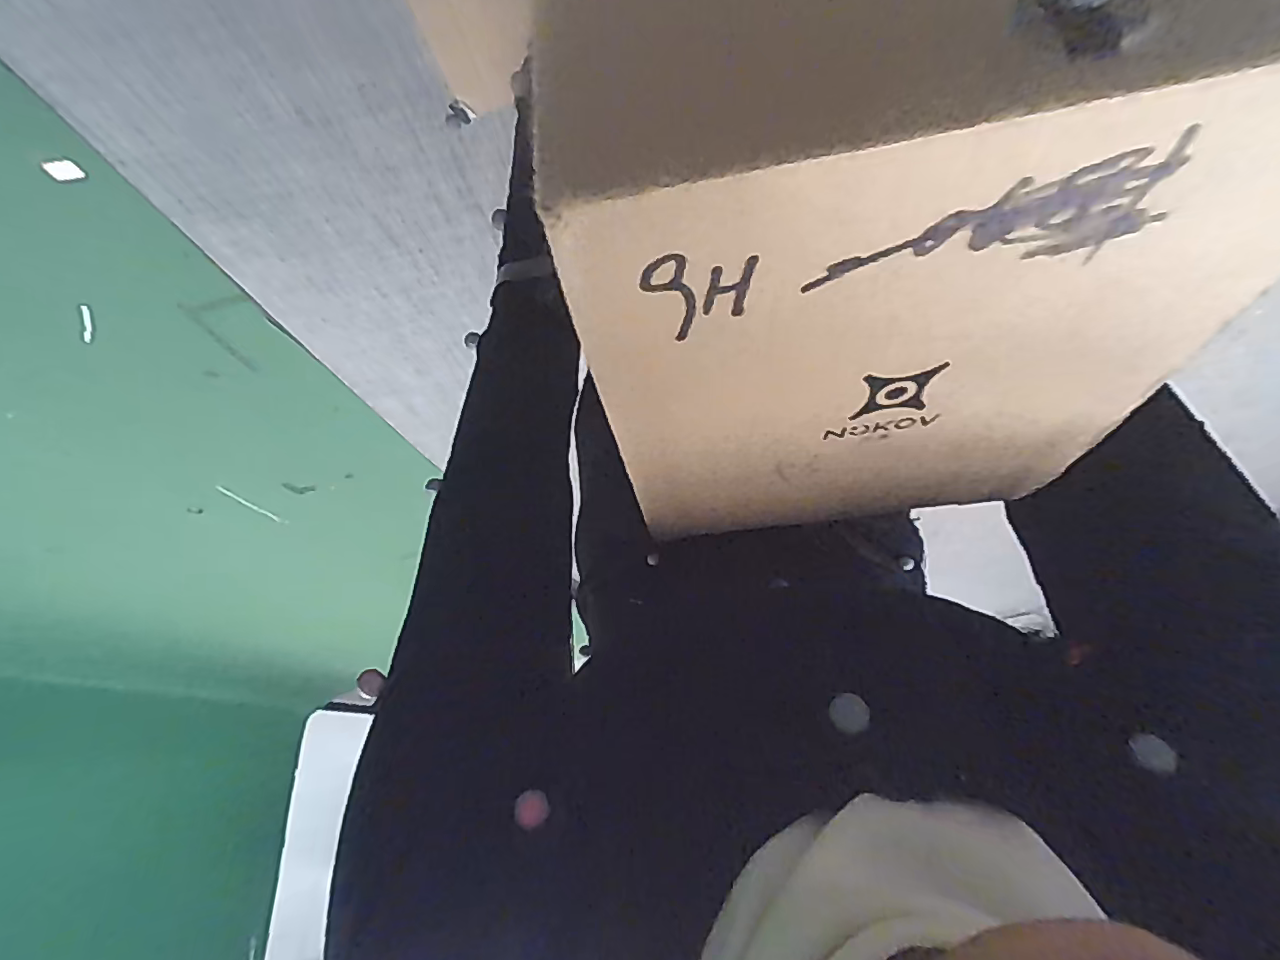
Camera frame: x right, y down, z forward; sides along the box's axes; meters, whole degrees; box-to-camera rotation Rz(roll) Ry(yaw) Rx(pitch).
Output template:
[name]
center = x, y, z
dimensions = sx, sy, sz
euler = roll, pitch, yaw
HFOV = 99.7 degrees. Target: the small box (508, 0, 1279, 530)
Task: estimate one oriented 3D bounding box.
[small box]
center = 0.060, -0.095, 0.205
dimensions = 0.168, 0.176, 0.179
euler = -8, 154, 5
